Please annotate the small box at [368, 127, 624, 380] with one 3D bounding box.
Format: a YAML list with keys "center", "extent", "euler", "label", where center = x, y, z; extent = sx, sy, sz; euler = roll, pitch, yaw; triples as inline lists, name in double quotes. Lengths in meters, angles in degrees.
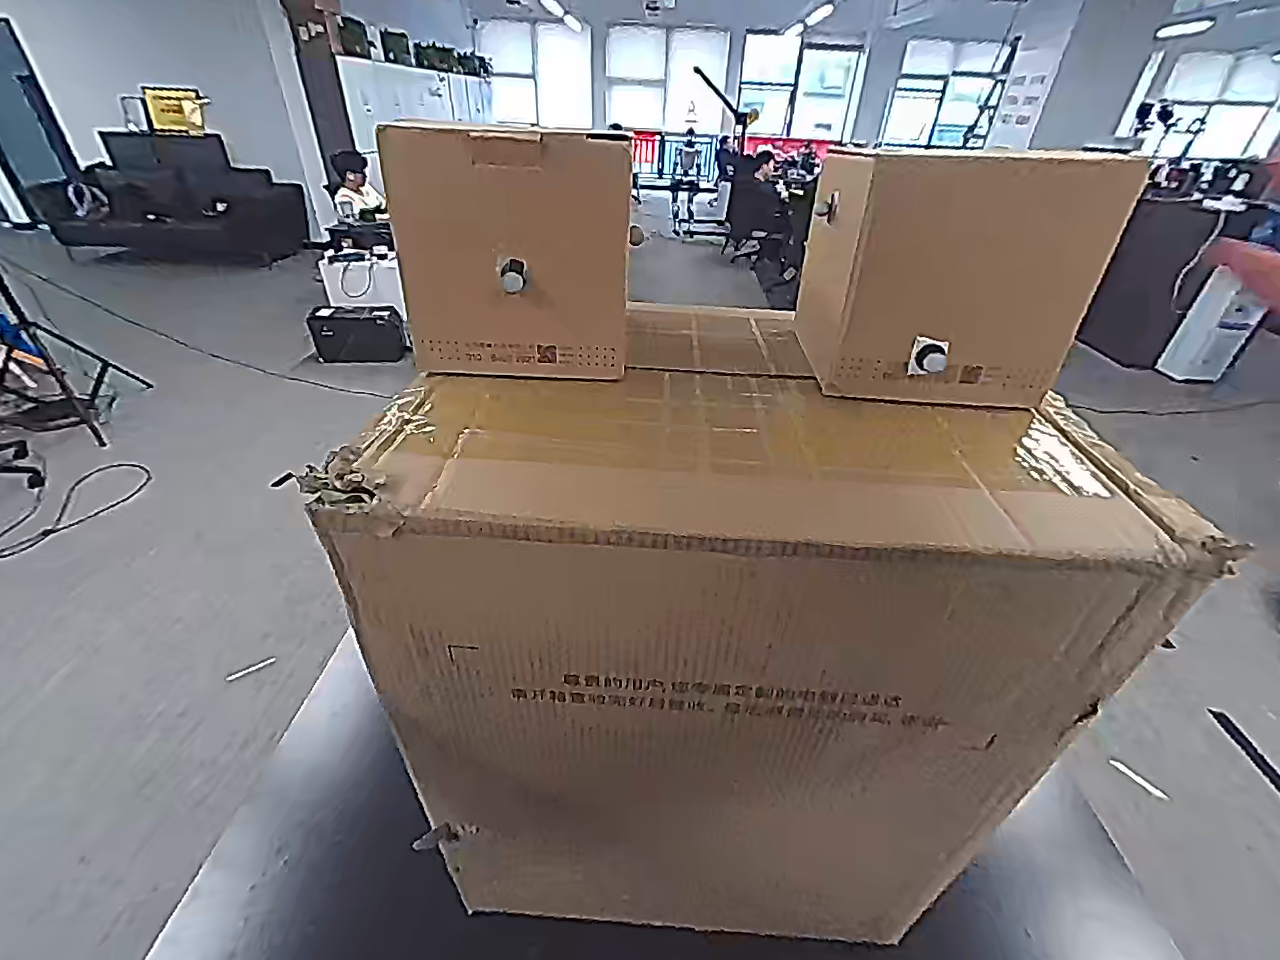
- center: [-0.097, -0.194, 0.458]
  extent: [0.168, 0.176, 0.179]
  euler: [1, 34, -3]
  label: "small box"

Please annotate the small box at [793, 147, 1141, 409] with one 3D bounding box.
- center: [0.229, -0.173, 0.445]
  extent: [0.168, 0.176, 0.179]
  euler: [2, 34, 4]
  label: "small box"
